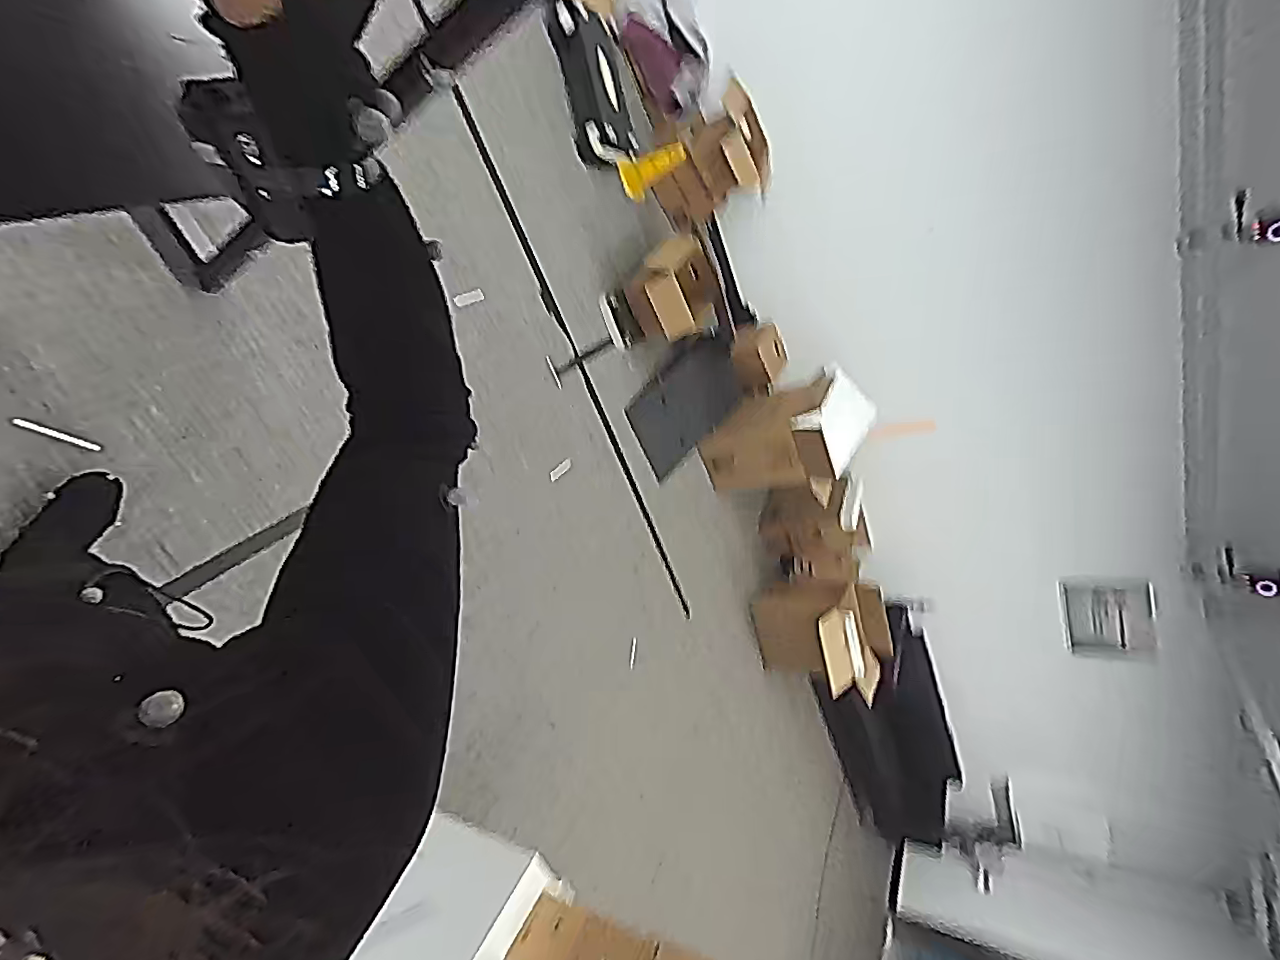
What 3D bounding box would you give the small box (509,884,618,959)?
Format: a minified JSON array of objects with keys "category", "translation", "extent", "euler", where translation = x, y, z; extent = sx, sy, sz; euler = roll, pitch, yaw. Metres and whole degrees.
[{"category":"small box","translation":[-0.189,1.136,1.326],"extent":[0.168,0.176,0.179],"euler":[-48,122,-46]}]
